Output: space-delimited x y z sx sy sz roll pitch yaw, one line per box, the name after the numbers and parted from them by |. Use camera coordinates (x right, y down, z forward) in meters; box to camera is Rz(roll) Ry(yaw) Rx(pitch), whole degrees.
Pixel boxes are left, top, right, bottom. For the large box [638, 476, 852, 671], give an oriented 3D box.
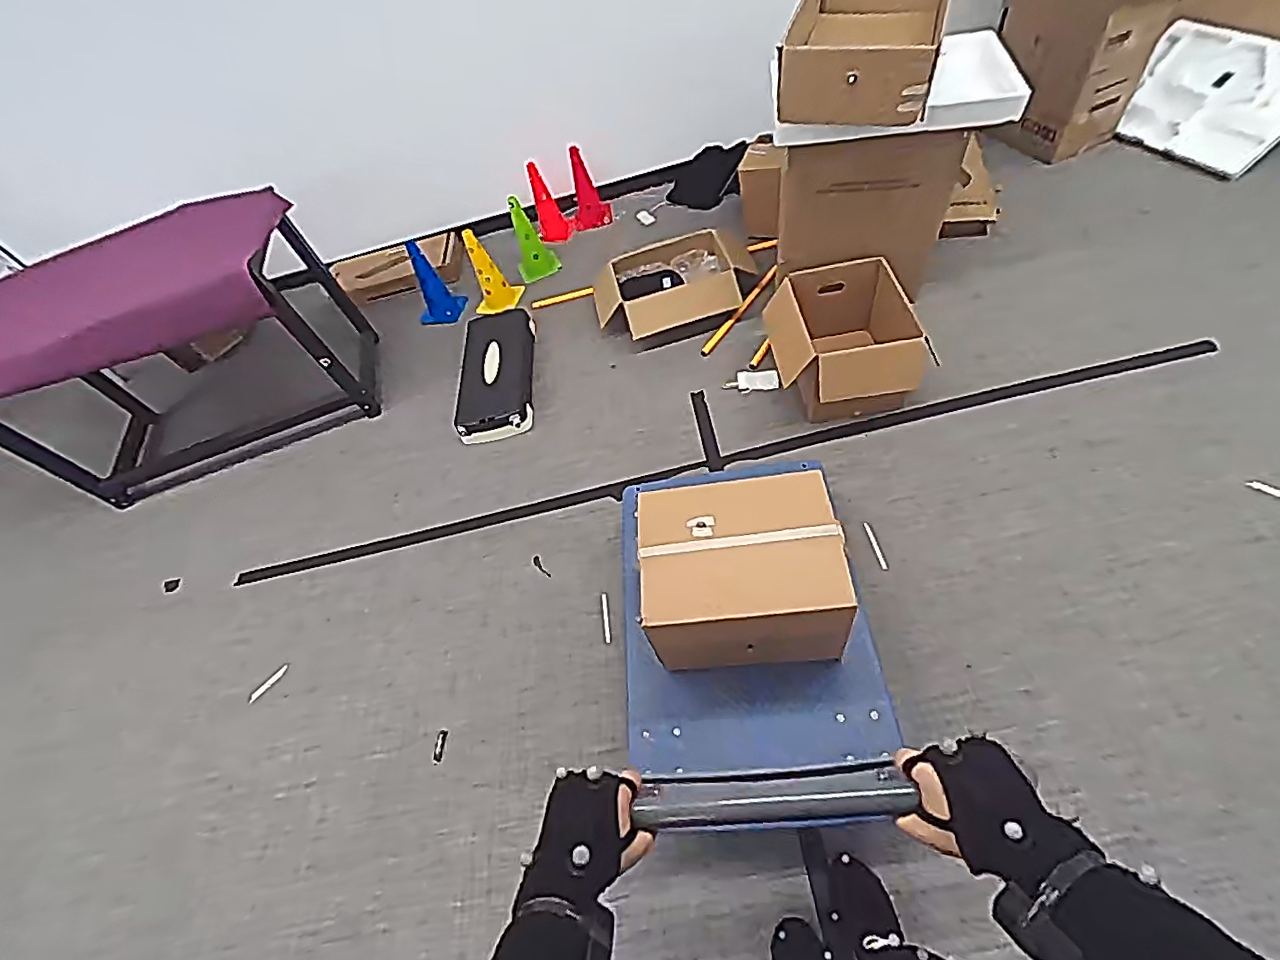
0.229 0.227 1.239 0.408 0.320 0.320 -9 53 9 | large box
